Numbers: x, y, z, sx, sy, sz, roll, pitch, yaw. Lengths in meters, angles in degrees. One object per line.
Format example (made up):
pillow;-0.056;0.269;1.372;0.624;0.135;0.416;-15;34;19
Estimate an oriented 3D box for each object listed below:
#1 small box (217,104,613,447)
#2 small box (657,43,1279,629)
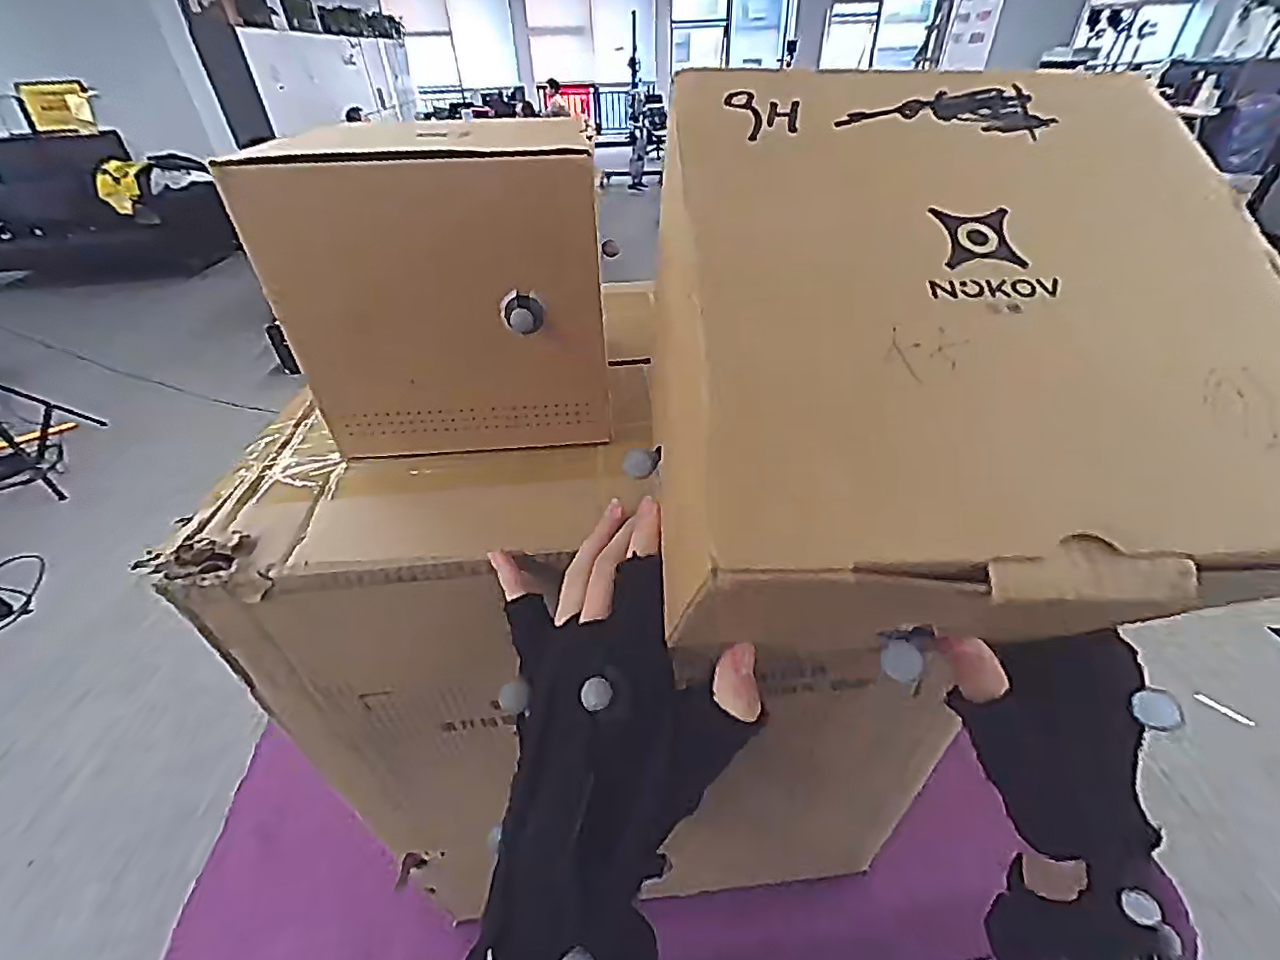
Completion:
small box;-0.109;-0.137;0.357;0.179;0.176;0.168;-5;38;-3
small box;0.094;-0.035;0.223;0.168;0.176;0.179;-1;67;-1
